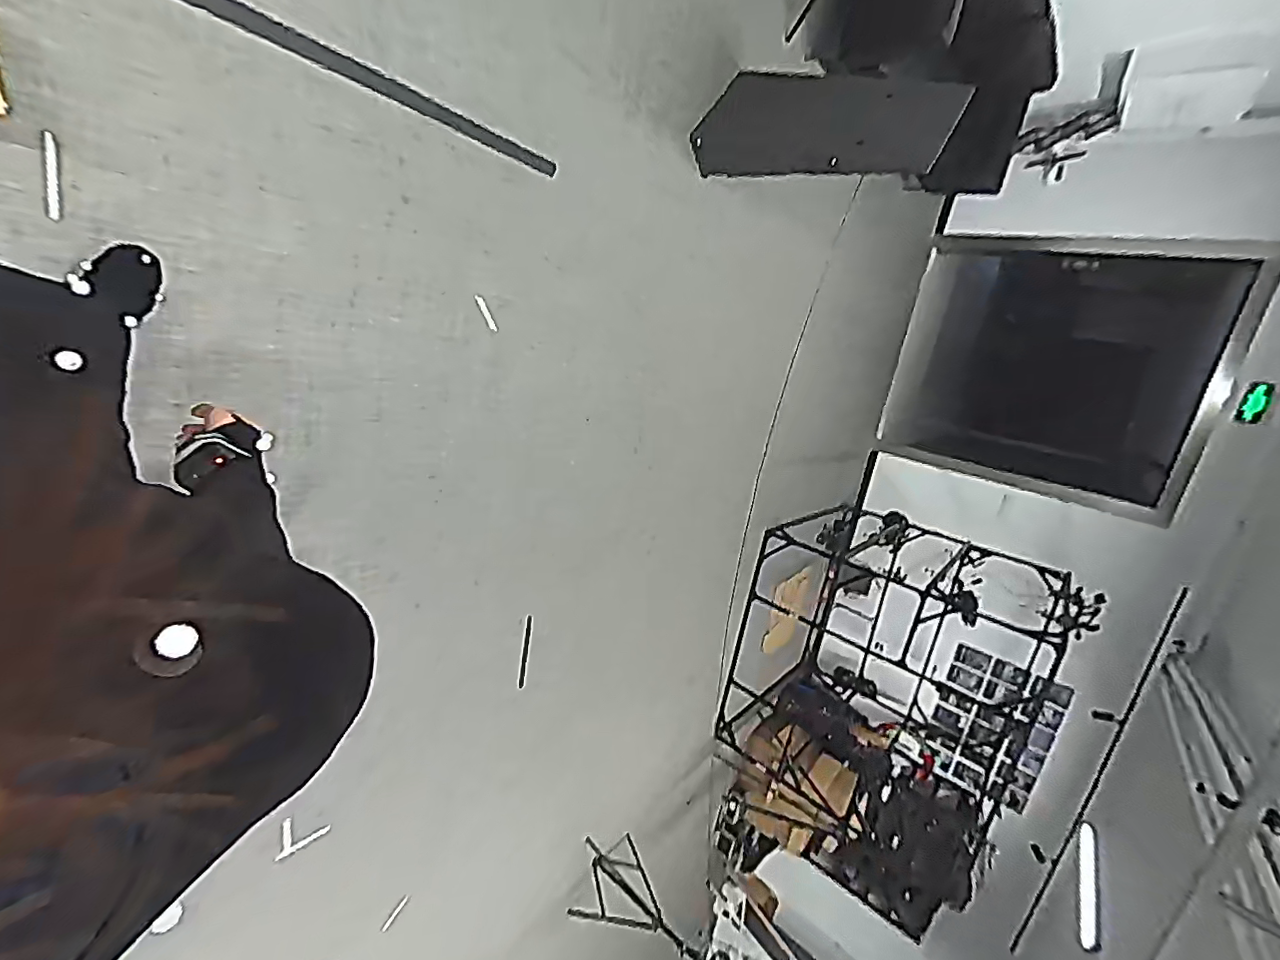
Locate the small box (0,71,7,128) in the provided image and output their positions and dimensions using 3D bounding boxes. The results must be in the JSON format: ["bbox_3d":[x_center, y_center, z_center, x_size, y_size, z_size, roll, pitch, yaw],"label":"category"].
[{"bbox_3d":[-1.143,-0.674,0.847,0.179,0.176,0.168,-10,115,-50],"label":"small box"}]
